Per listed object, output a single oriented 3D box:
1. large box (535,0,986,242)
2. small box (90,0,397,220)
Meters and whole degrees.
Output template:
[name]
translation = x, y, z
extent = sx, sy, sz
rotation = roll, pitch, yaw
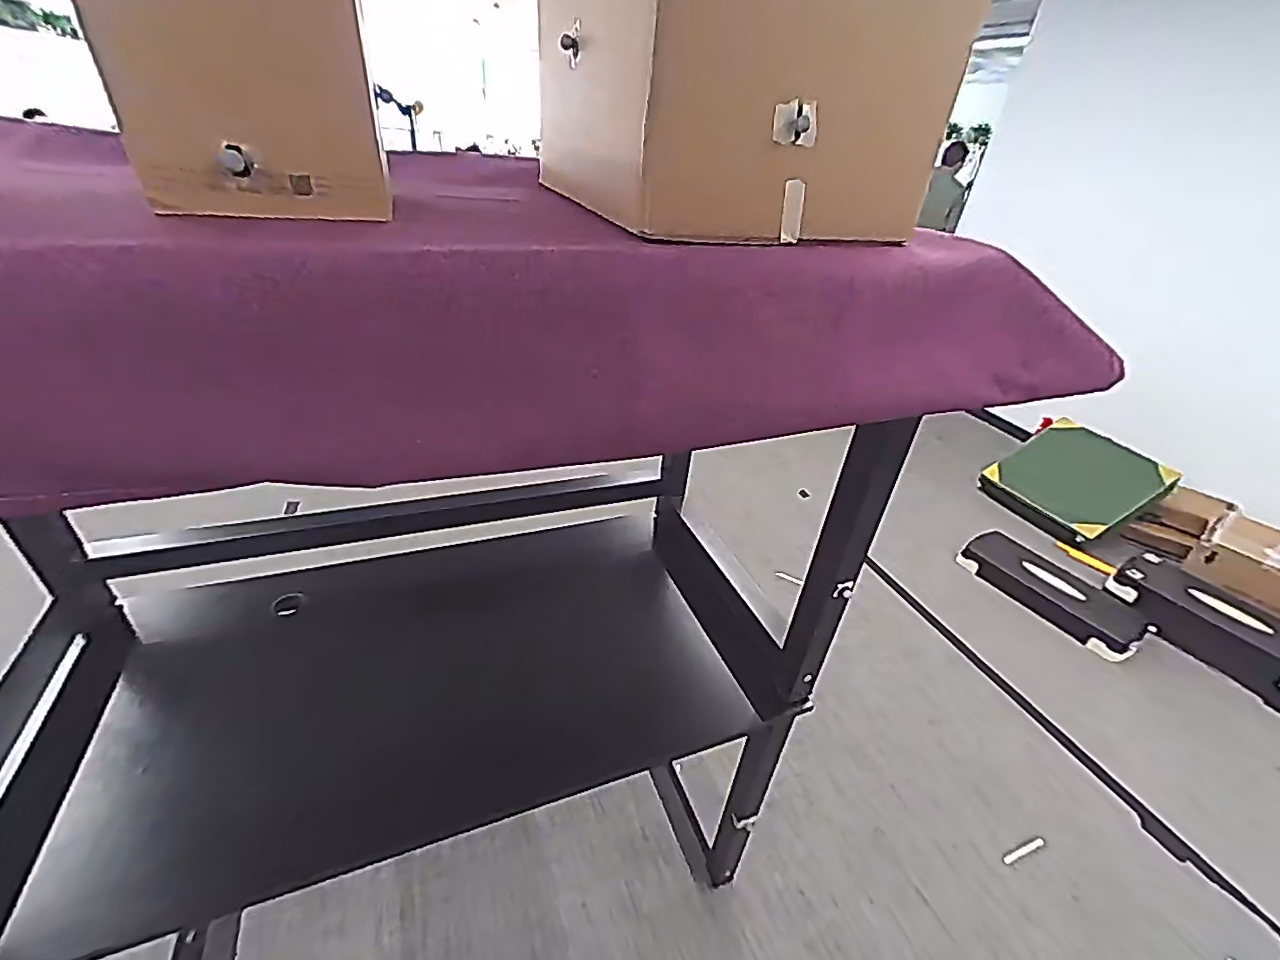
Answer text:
[large box]
translation = 0.082, -0.453, 0.579
extent = 0.320, 0.320, 0.408
rotation = -8, 34, -21
[small box]
translation = -0.304, -0.323, 0.446
extent = 0.168, 0.176, 0.179
rotation = -8, 36, -19
